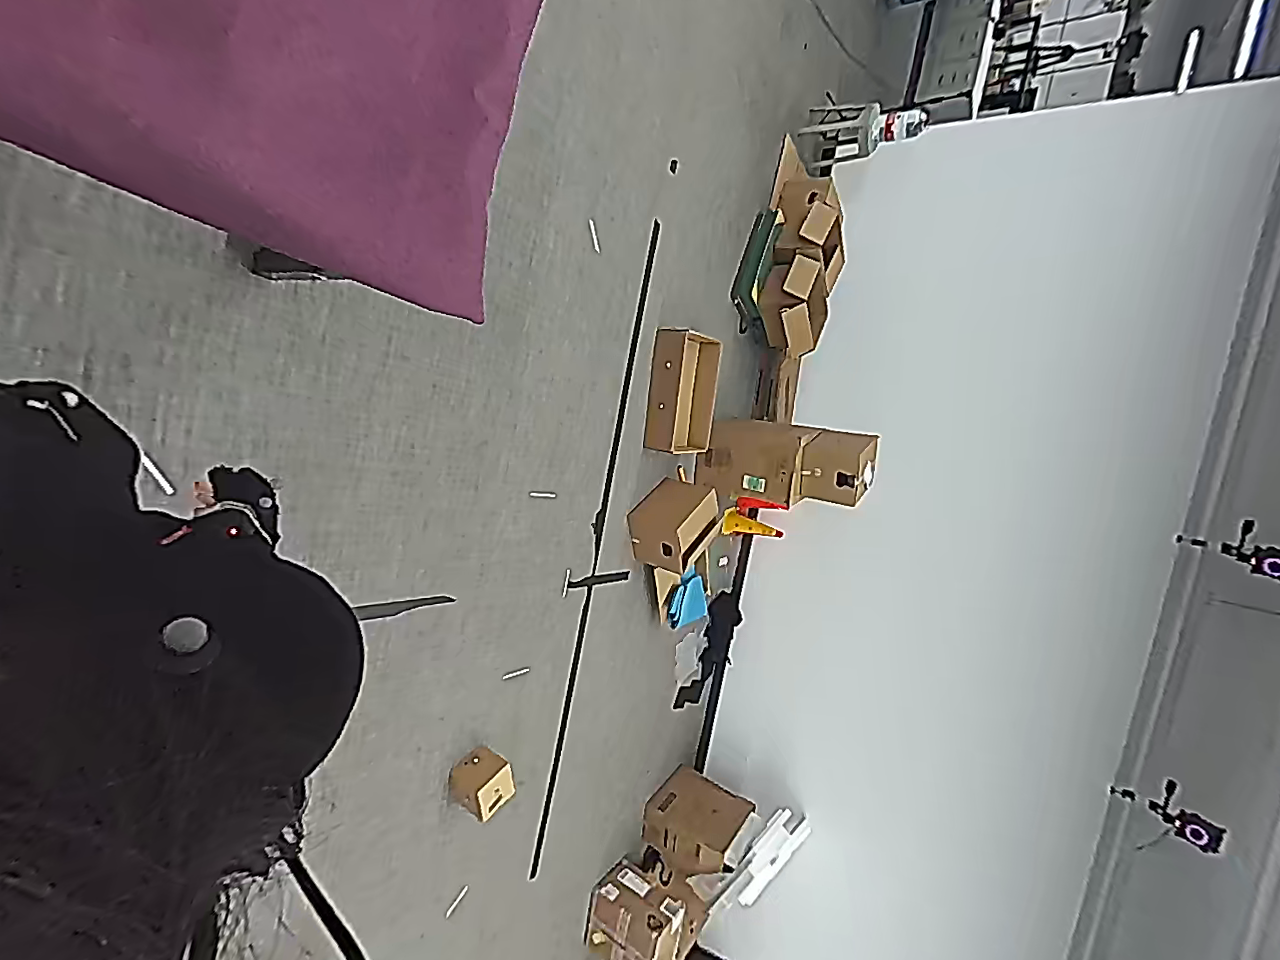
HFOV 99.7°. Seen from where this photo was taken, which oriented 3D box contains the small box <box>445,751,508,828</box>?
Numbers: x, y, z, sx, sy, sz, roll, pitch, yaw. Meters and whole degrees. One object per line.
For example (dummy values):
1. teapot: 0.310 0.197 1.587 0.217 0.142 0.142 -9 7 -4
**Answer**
1. small box: -0.659 1.239 2.176 0.168 0.176 0.179 -30 124 -50
